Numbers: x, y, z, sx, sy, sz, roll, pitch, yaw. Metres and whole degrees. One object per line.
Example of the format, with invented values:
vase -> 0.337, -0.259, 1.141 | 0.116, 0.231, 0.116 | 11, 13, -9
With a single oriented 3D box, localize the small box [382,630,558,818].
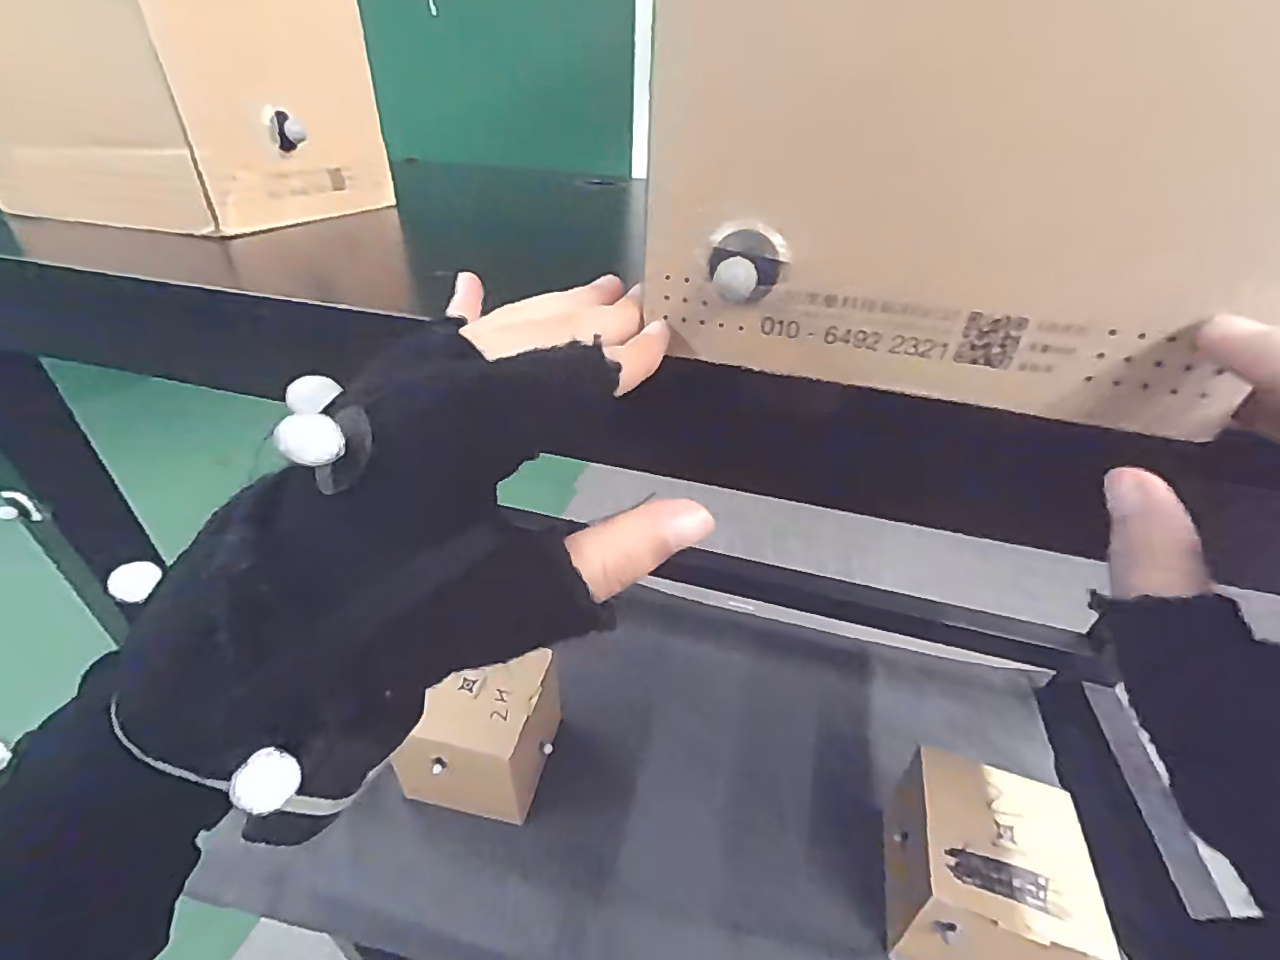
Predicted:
small box -> -0.227, 0.345, 0.769 | 0.179, 0.176, 0.168 | 9, 35, 9
